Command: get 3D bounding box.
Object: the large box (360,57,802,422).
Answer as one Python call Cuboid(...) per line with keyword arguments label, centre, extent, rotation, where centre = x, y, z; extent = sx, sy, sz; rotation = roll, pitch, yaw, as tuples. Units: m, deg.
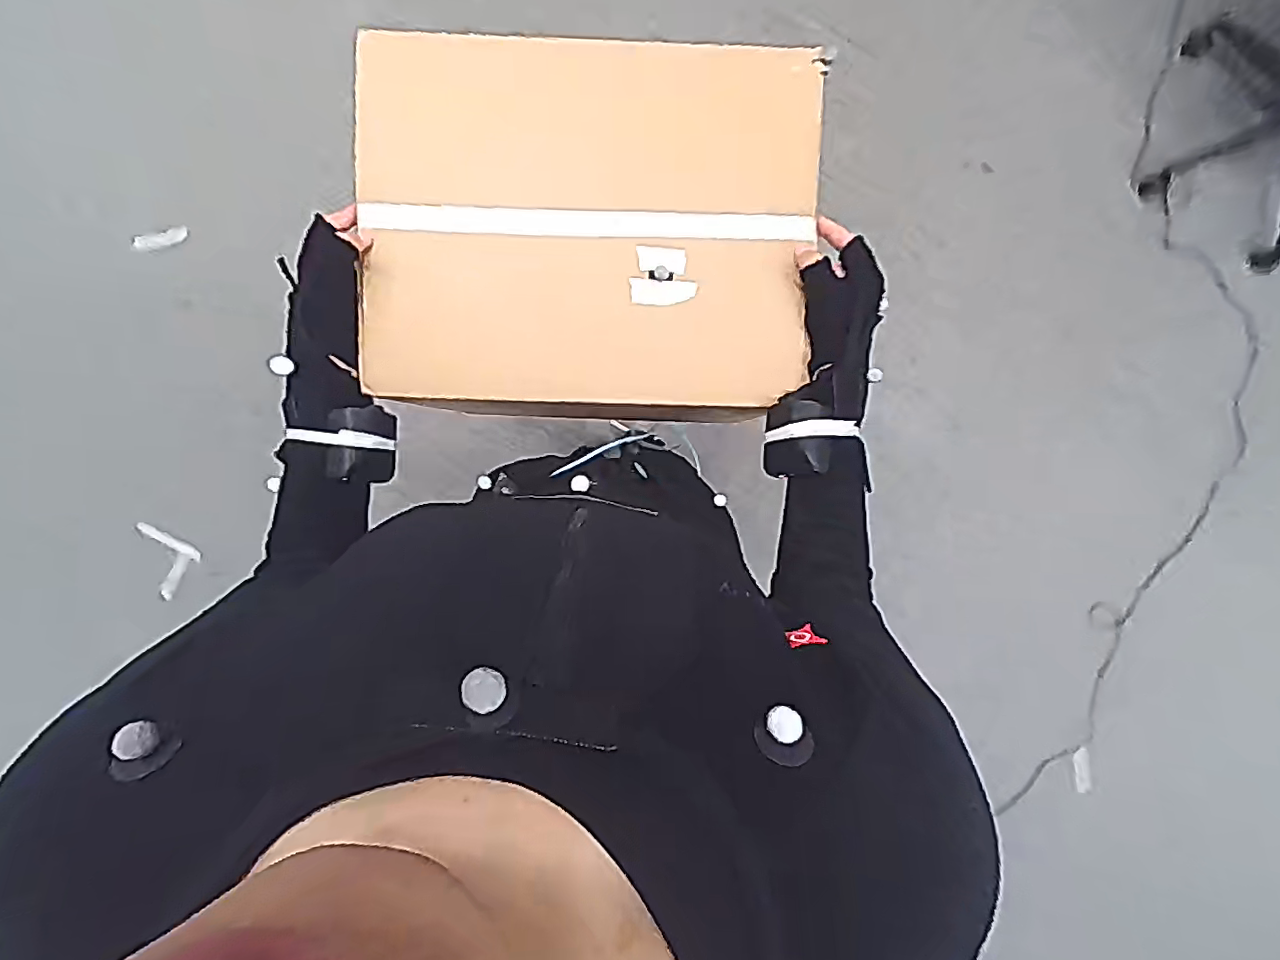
Cuboid(label="large box", centre=(-0.056, -0.233, 0.641), extent=(0.408, 0.320, 0.320), rotation=(0, 95, -2))
